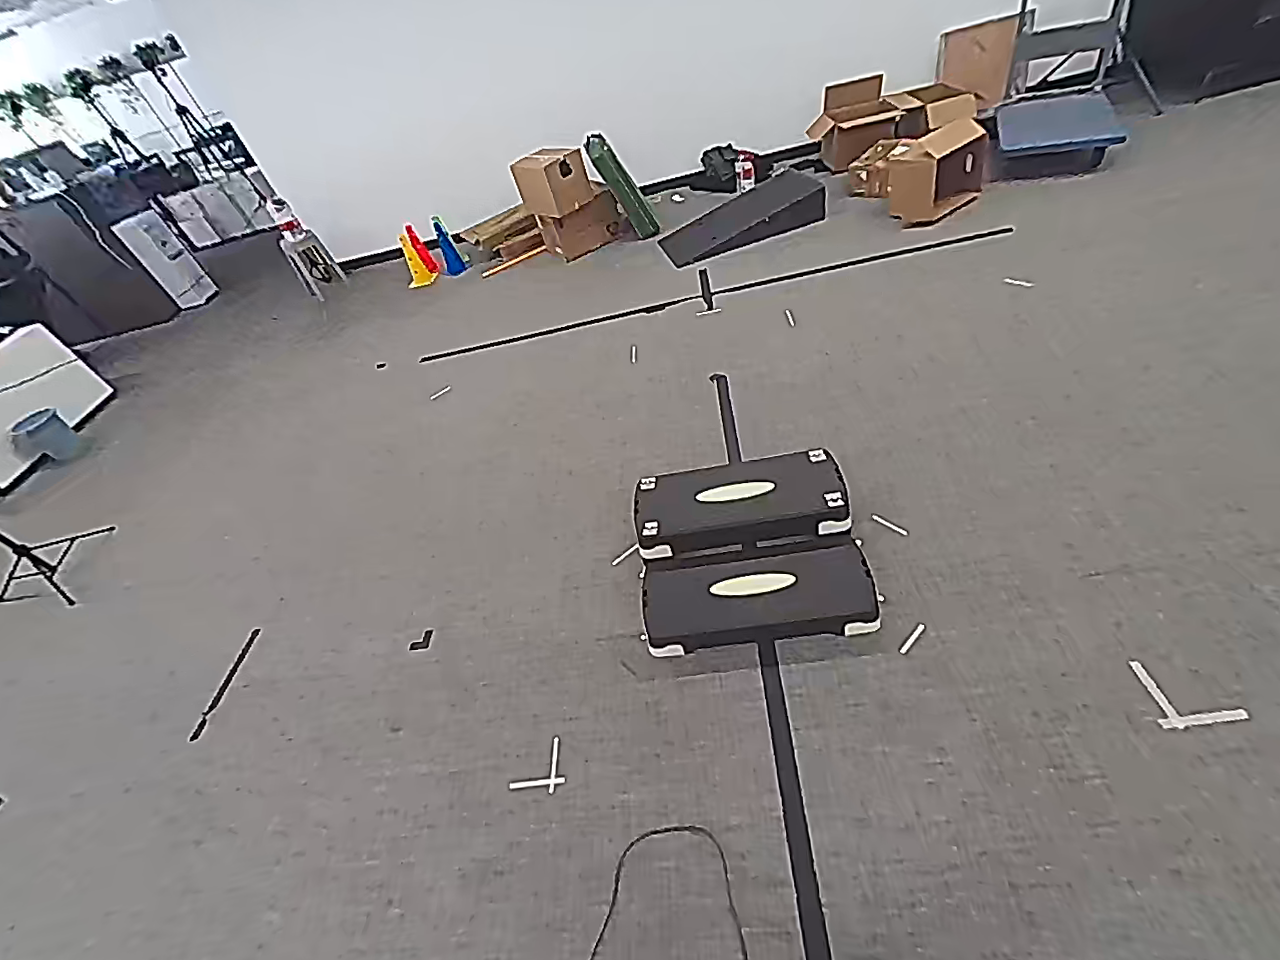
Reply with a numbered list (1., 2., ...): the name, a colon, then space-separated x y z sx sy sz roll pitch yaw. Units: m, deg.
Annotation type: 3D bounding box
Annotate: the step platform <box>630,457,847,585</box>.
1. step platform: 0.307 0.130 1.766 0.684 0.204 0.286 -10 45 7
